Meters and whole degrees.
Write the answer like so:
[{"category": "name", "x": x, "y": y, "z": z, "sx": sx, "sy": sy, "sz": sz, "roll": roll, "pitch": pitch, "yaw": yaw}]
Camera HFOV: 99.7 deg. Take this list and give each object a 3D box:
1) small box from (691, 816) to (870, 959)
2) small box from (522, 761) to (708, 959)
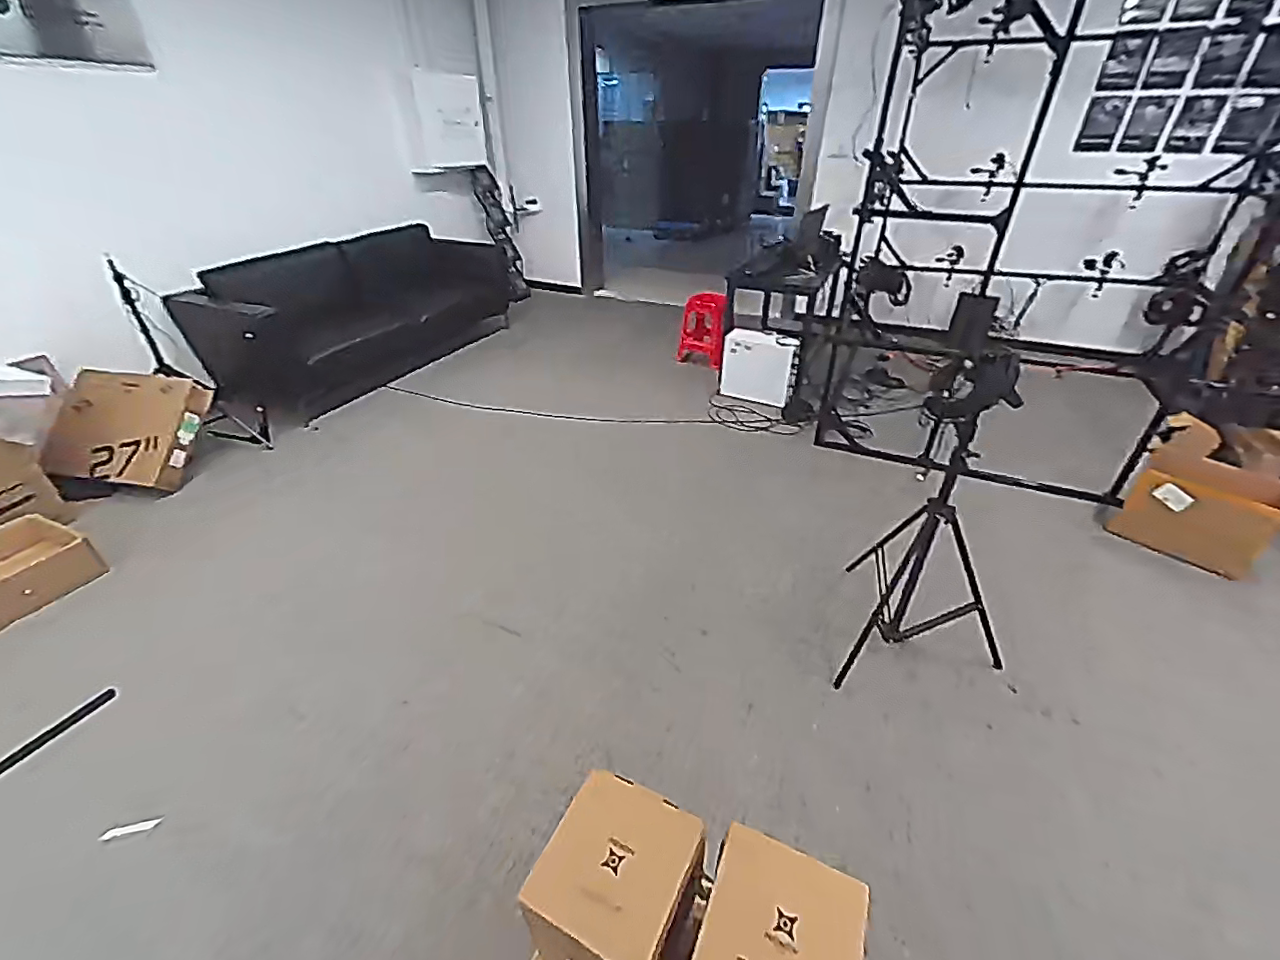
[{"category": "small box", "x": 0.154, "y": 0.548, "z": 0.630, "sx": 0.168, "sy": 0.176, "sz": 0.179, "roll": 15, "pitch": 37, "yaw": 20}, {"category": "small box", "x": -0.022, "y": 0.510, "z": 0.688, "sx": 0.168, "sy": 0.176, "sz": 0.179, "roll": 13, "pitch": 38, "yaw": 24}]
